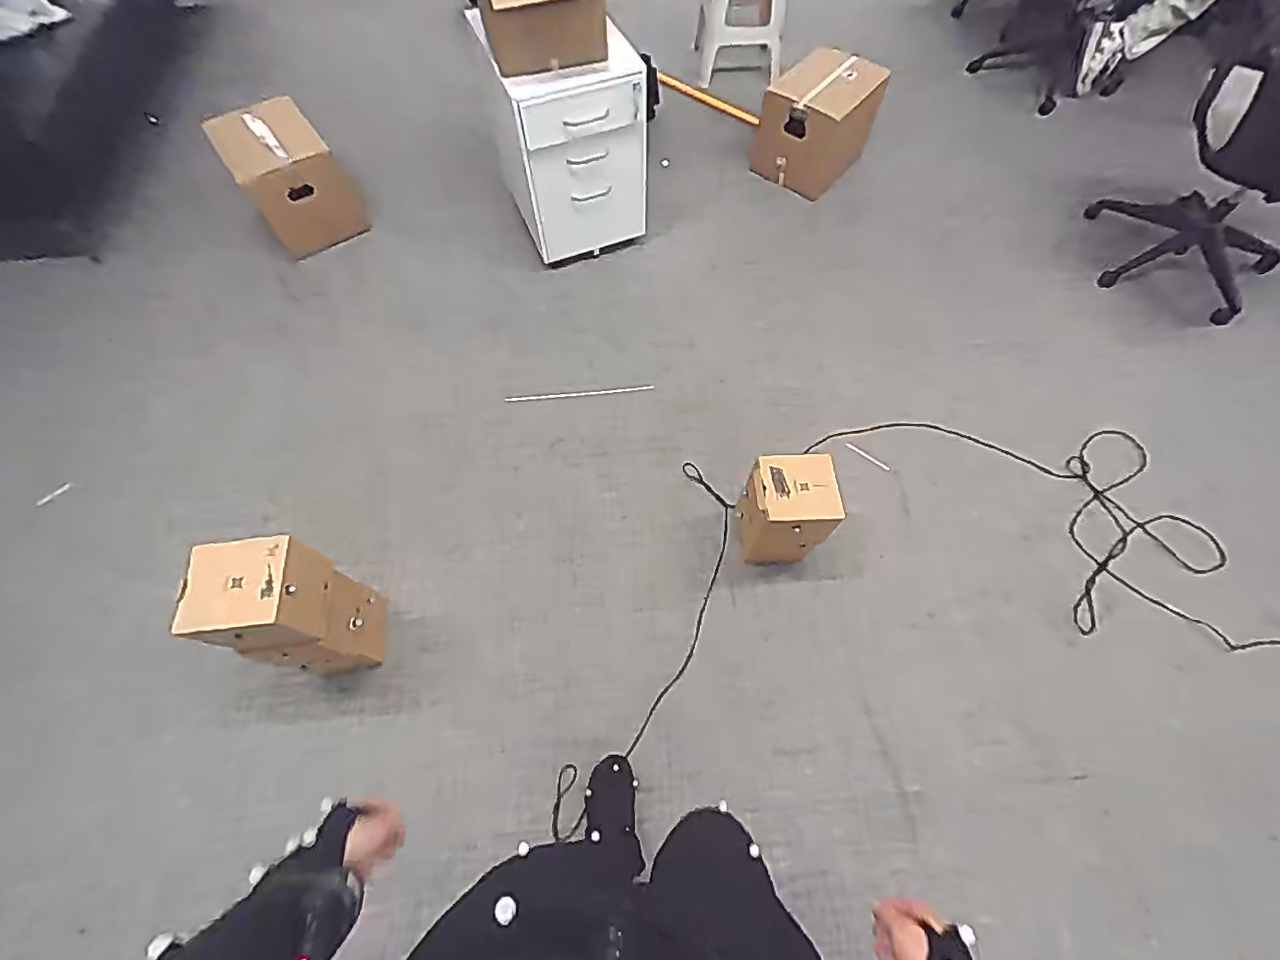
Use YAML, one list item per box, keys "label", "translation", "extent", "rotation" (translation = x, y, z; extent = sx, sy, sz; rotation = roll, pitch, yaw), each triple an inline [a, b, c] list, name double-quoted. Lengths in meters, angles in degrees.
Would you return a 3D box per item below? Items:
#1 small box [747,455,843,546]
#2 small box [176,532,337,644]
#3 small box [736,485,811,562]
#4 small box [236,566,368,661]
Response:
- label: "small box"
  translation: [0.361, 0.054, 1.299]
  extent: [0.179, 0.176, 0.168]
  rotation: [-1, 63, -2]
- label: "small box"
  translation: [-0.725, 0.214, 1.045]
  extent: [0.179, 0.176, 0.168]
  rotation: [-6, 64, -2]
- label: "small box"
  translation: [0.359, 0.118, 1.450]
  extent: [0.179, 0.176, 0.168]
  rotation: [-3, 63, -2]
- label: "small box"
  translation: [-0.730, 0.295, 1.188]
  extent: [0.179, 0.176, 0.168]
  rotation: [-5, 64, -4]
